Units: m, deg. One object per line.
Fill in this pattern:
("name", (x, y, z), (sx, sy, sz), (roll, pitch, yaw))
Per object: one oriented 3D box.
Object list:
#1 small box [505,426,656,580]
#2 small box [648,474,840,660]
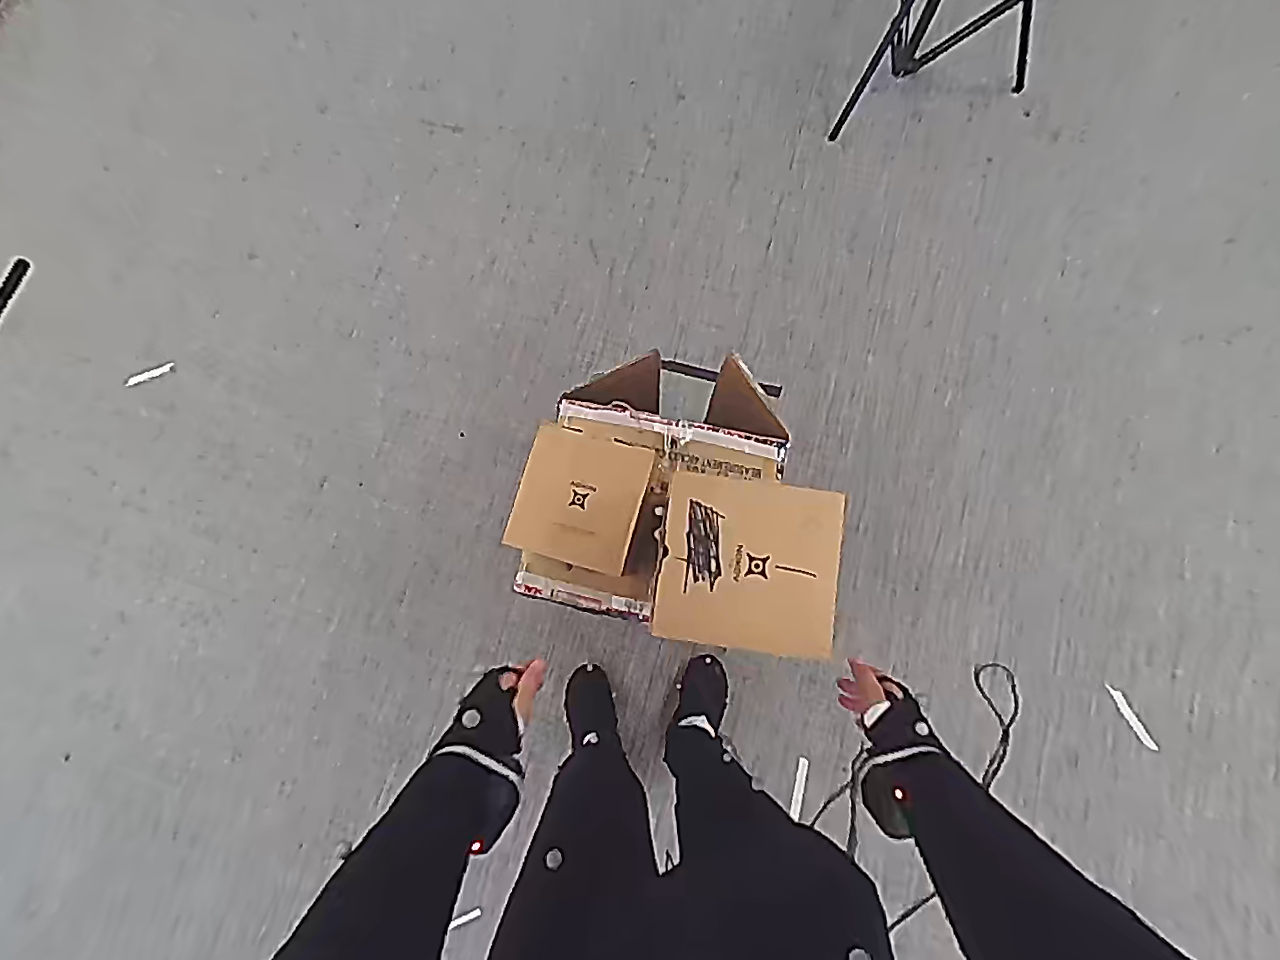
("small box", (-0.075, 0.040, 0.801), (0.168, 0.176, 0.179), (15, 83, 6))
("small box", (0.108, 0.096, 0.618), (0.179, 0.176, 0.168), (8, 83, 3))
